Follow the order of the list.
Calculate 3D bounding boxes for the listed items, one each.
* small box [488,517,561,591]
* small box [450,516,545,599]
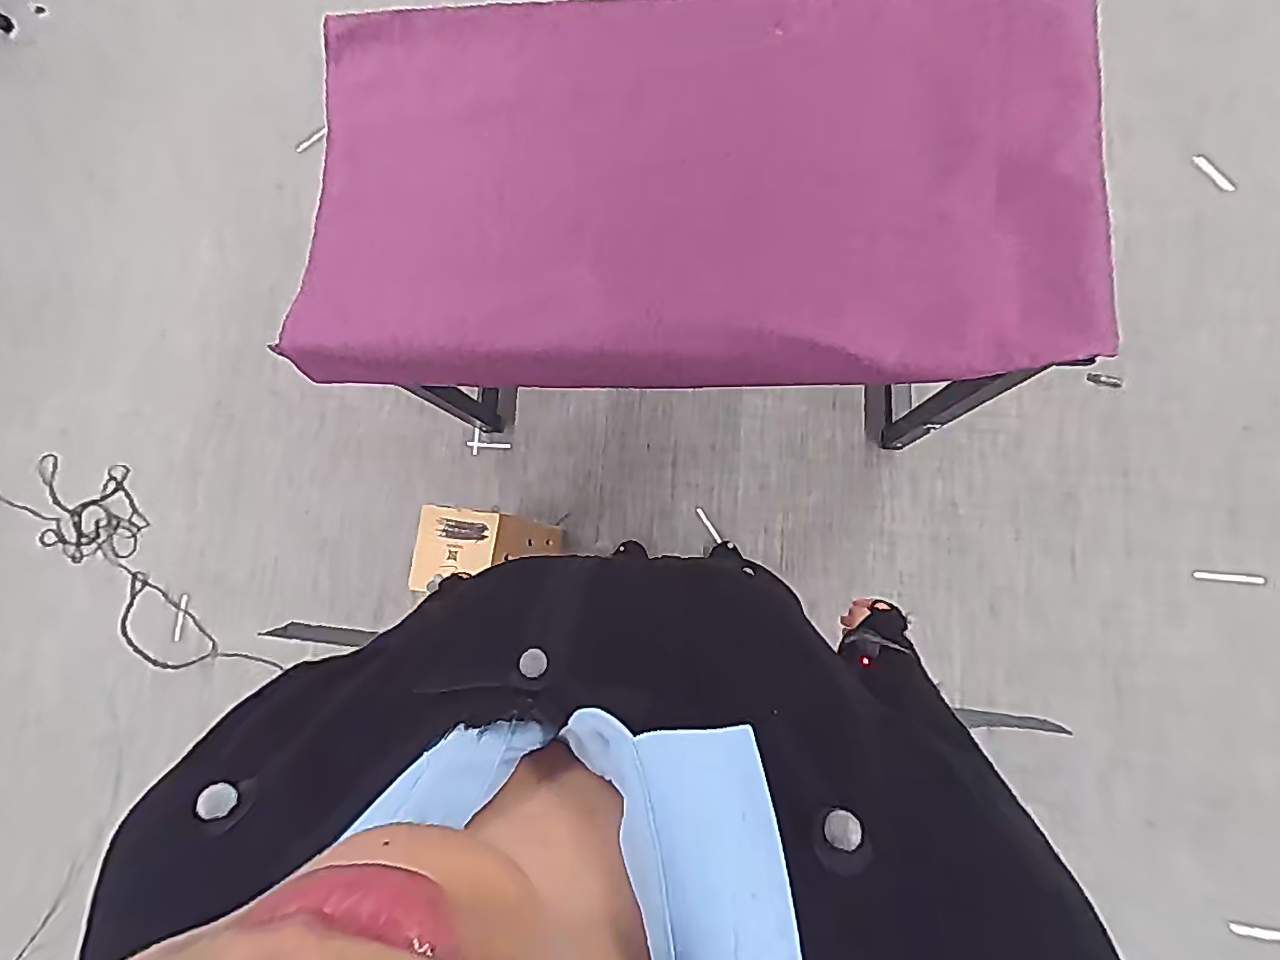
[{"bbox_3d":[-0.325,0.204,1.471,0.168,0.176,0.179,10,83,8],"label":"small box"},{"bbox_3d":[-0.336,0.185,1.307,0.168,0.176,0.179,5,83,7],"label":"small box"}]
